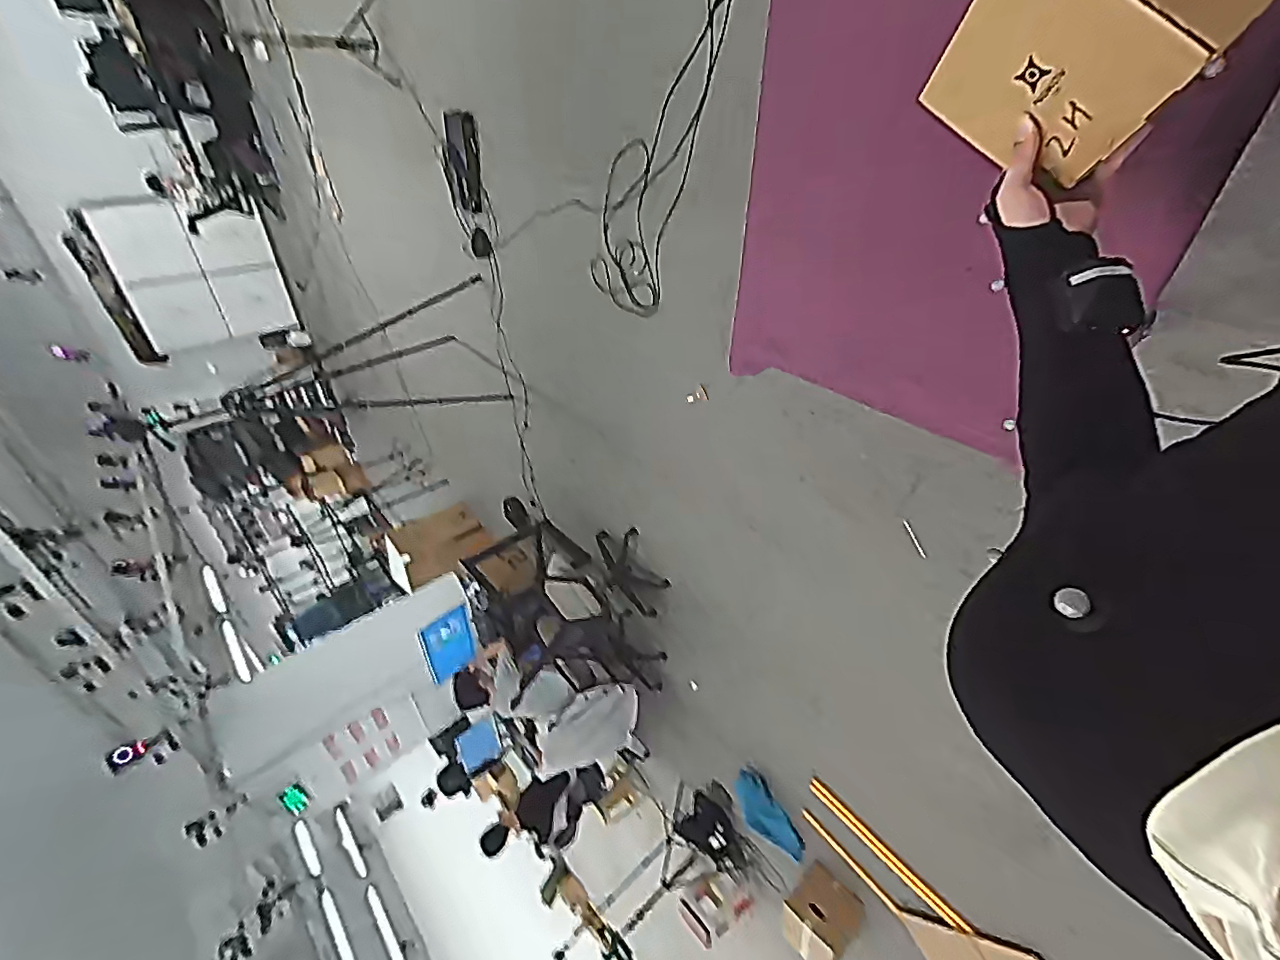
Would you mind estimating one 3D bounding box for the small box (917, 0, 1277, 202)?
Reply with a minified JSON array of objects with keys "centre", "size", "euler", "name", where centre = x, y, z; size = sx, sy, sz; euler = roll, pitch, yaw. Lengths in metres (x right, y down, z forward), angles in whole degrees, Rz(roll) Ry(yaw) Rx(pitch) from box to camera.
[{"centre":[0.395,-0.396,0.464],"size":[0.179,0.176,0.168],"euler":[46,176,6],"name":"small box"}]
